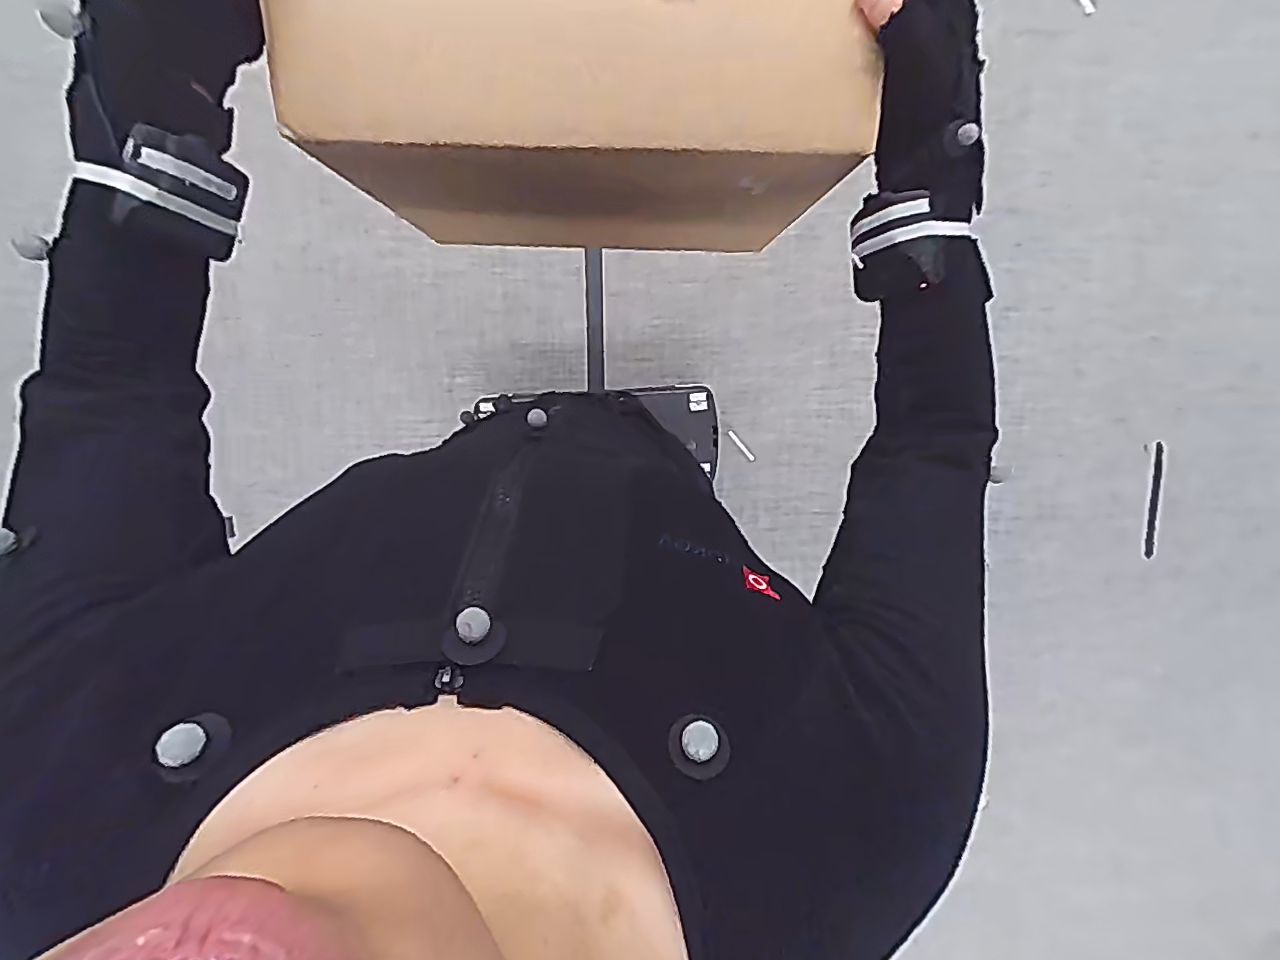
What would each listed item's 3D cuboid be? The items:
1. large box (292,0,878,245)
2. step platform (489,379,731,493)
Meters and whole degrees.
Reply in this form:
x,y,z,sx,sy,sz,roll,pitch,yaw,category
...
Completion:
x,y,z,sx,sy,sz,roll,pitch,yaw,category
-0.041,-0.416,0.499,0.408,0.320,0.320,0,102,-3,large box
-0.082,-0.130,1.563,0.684,0.204,0.286,-4,99,-4,step platform
